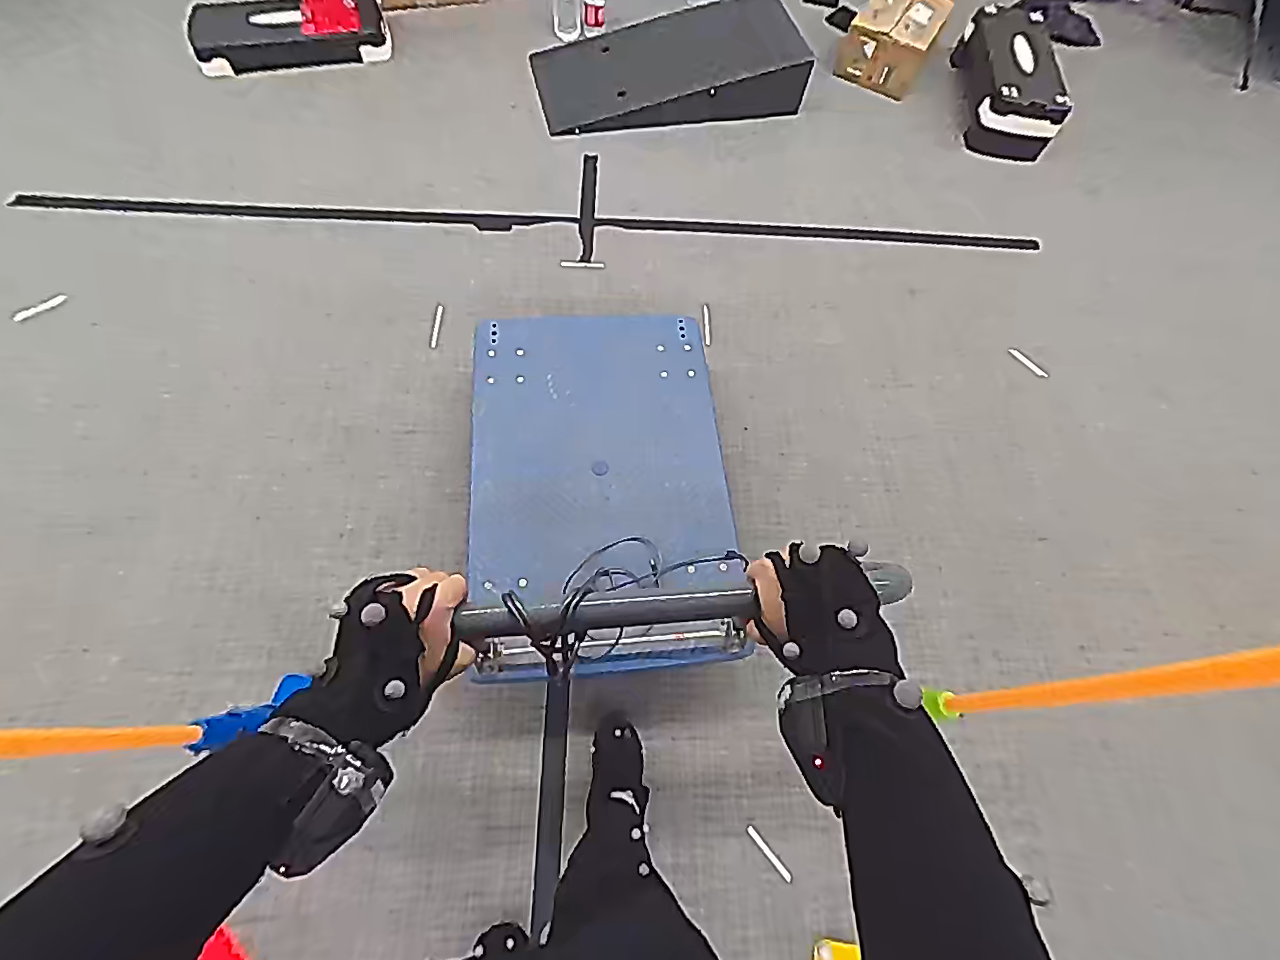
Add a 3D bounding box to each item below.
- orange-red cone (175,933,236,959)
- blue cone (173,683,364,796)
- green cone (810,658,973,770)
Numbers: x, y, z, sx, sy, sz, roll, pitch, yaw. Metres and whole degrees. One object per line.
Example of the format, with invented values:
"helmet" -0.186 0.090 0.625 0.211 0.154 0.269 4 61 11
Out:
"orange-red cone" -0.749 0.849 0.760 0.199 0.360 0.198 -41 75 -21
"blue cone" -0.673 0.462 0.962 0.193 0.380 0.192 15 66 3
"green cone" 0.506 0.446 1.044 0.200 0.368 0.202 -11 68 -9
